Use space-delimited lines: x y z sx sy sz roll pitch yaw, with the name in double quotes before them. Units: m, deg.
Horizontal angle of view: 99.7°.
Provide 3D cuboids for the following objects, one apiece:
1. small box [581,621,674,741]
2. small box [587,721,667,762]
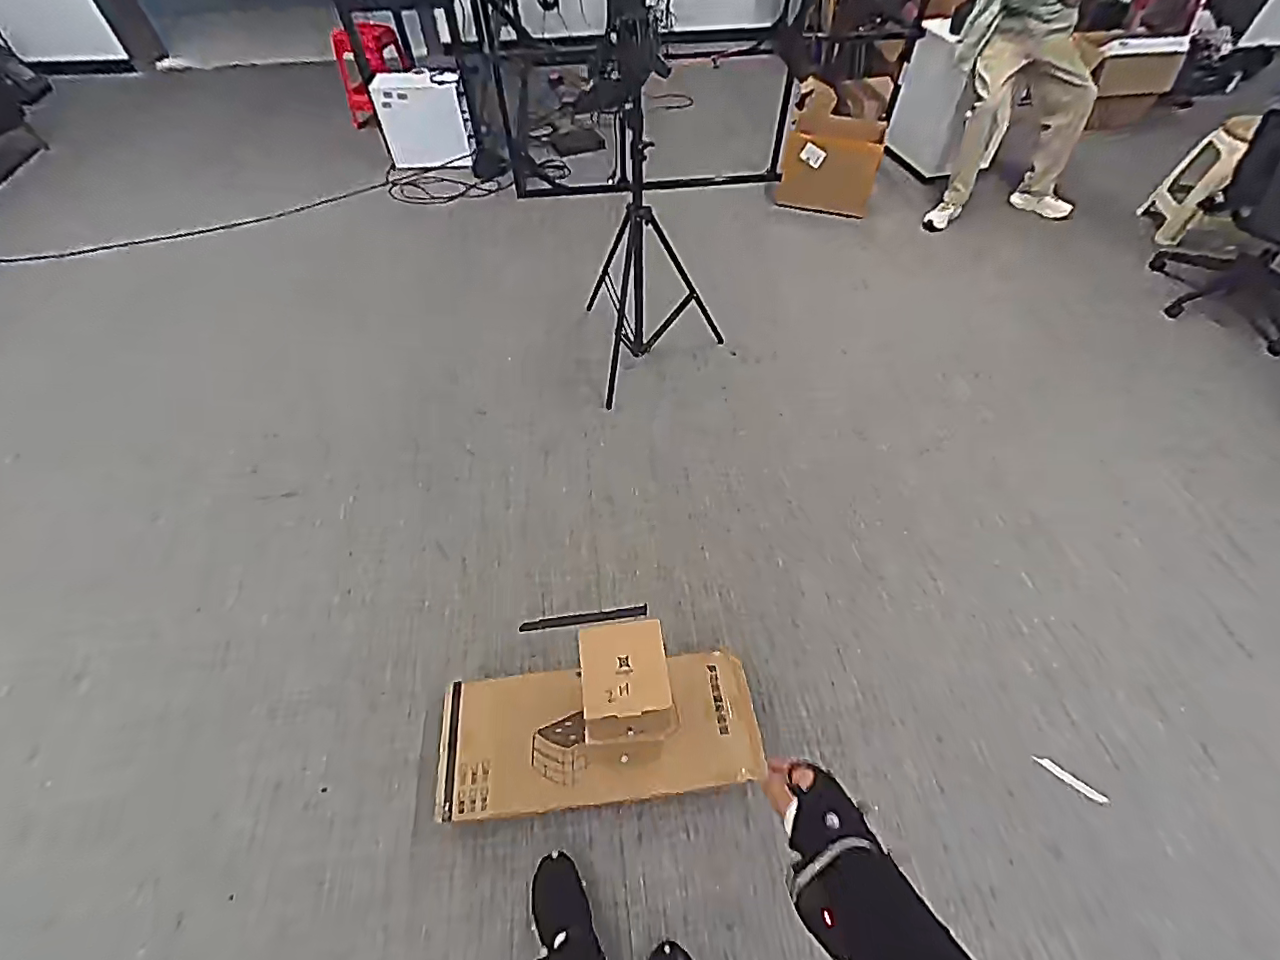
"small box" -0.028 0.410 1.098 0.168 0.176 0.179 -7 53 -4
"small box" -0.031 0.522 1.221 0.168 0.176 0.179 -3 54 -1
